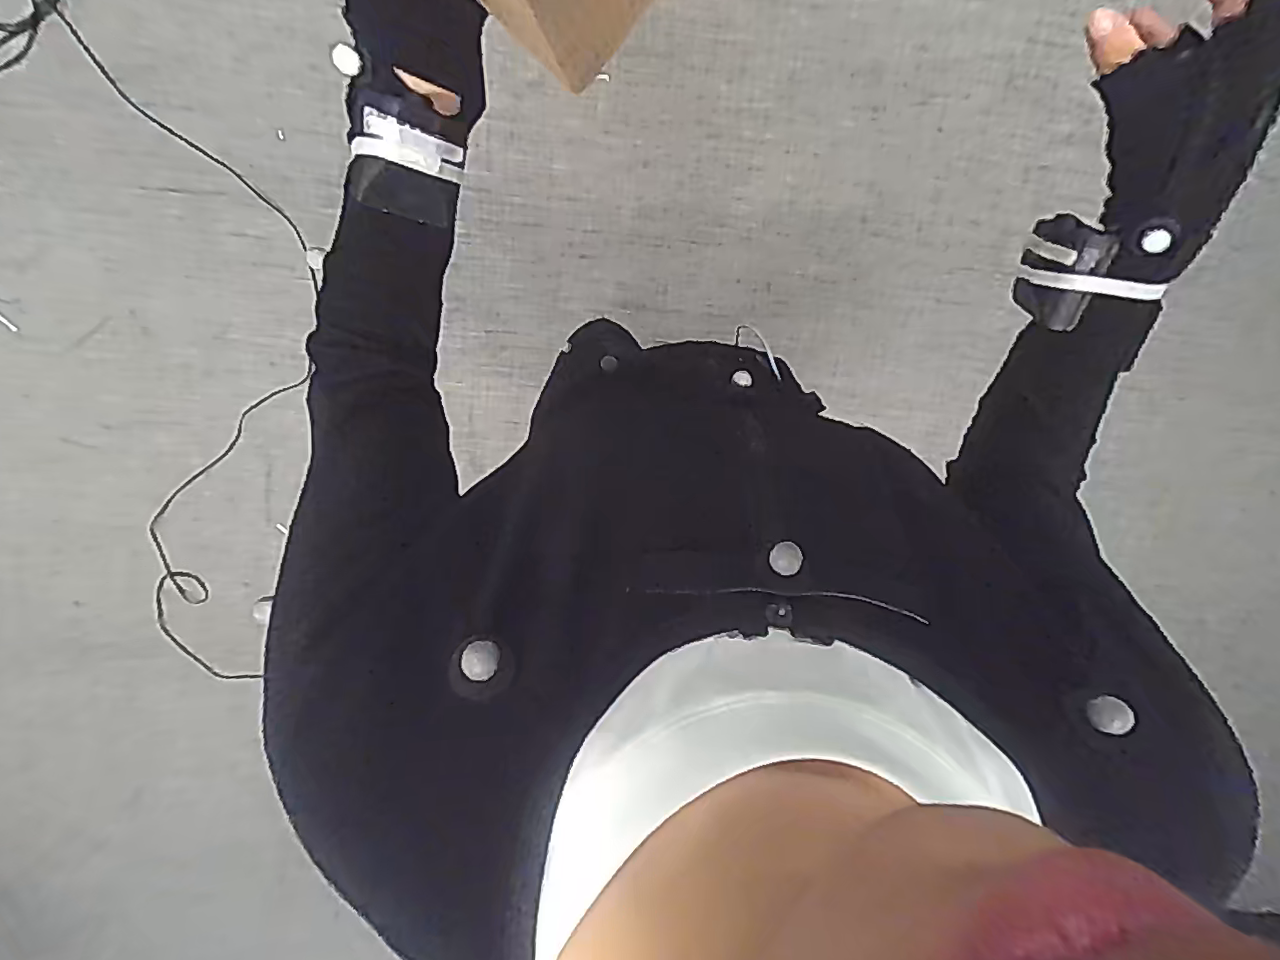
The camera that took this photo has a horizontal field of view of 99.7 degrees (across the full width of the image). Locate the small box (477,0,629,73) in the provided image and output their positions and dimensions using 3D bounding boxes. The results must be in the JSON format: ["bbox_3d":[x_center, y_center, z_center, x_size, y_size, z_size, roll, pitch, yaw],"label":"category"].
[{"bbox_3d":[-0.042,-0.287,0.162,0.168,0.176,0.179,42,106,-9],"label":"small box"}]
